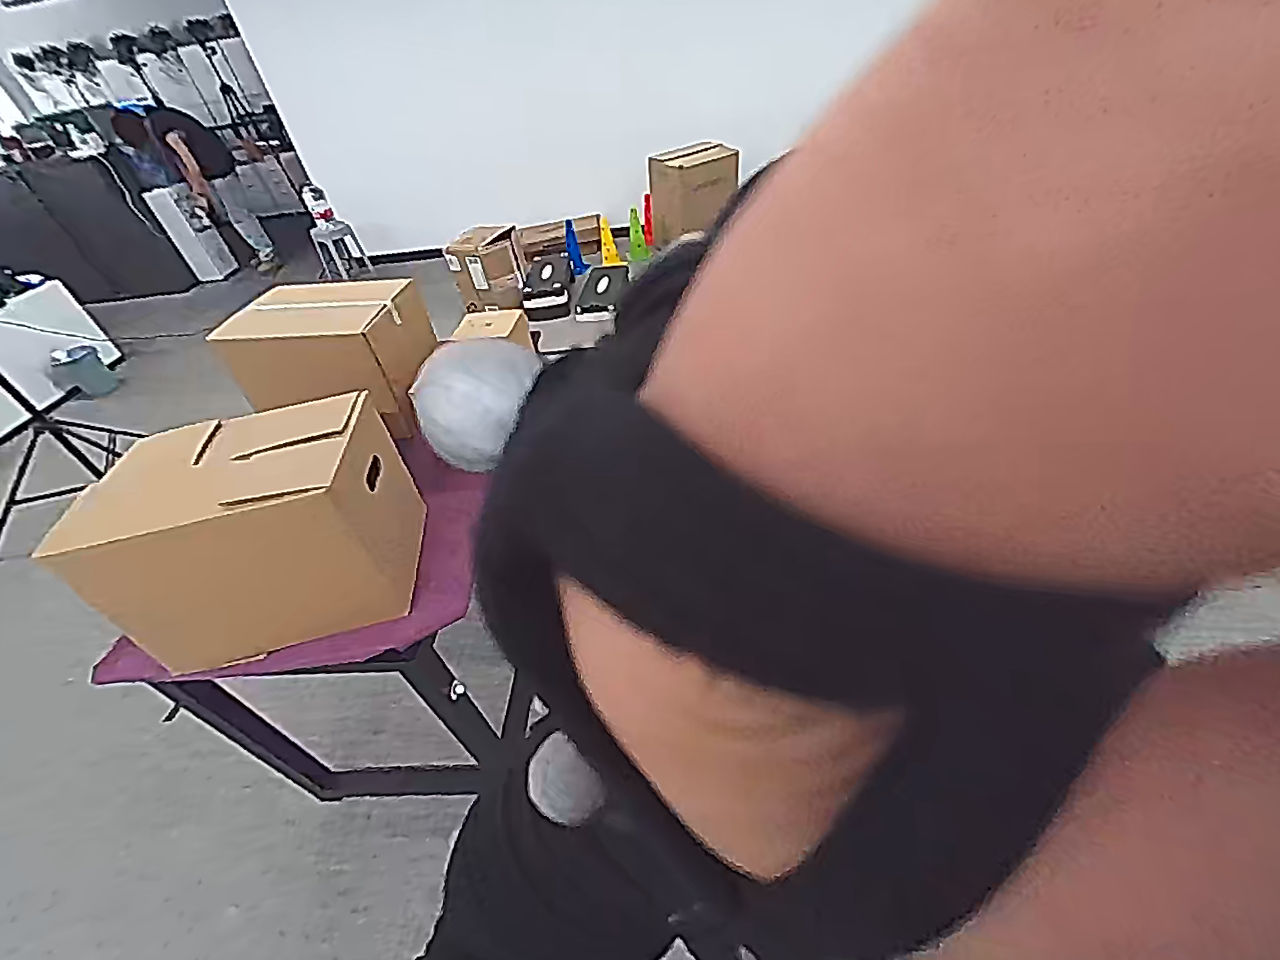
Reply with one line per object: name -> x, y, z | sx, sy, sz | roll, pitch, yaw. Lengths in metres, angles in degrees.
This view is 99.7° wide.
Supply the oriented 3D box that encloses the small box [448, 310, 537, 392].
small box -> -0.412, -0.367, 1.551 | 0.179, 0.176, 0.168 | -3, 41, 10
